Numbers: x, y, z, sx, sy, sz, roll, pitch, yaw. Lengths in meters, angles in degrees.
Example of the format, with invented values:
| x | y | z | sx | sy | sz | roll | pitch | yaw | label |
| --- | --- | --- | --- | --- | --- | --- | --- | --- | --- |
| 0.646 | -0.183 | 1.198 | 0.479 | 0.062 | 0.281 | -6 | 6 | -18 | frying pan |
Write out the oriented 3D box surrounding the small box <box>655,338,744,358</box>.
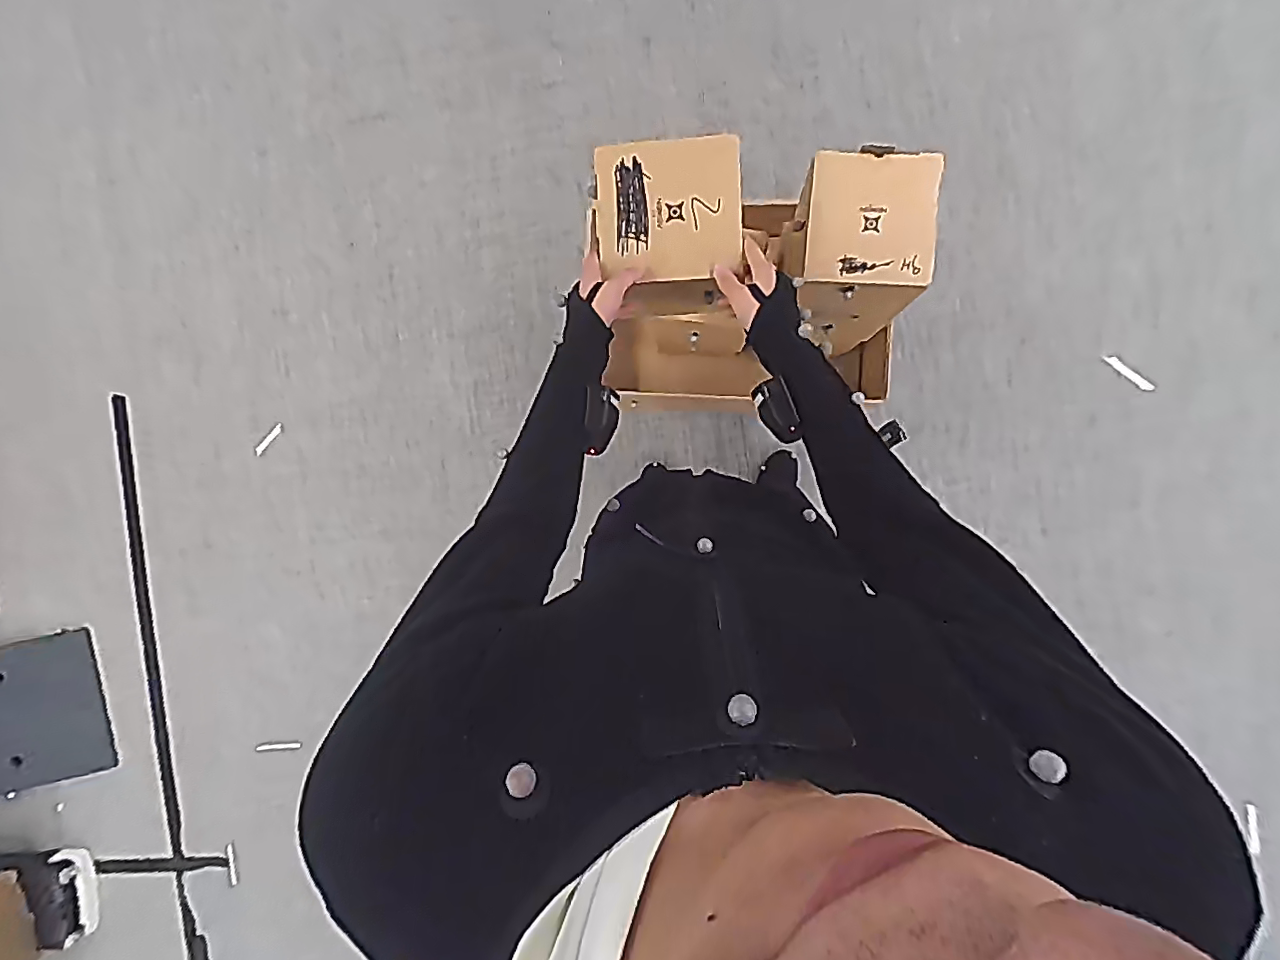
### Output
| x | y | z | sx | sy | sz | roll | pitch | yaw | label |
| --- | --- | --- | --- | --- | --- | --- | --- | --- | --- |
| 0.126 | -0.355 | 1.131 | 0.179 | 0.176 | 0.168 | 4 | 91 | 4 | small box |

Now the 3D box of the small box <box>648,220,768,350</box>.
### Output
| x | y | z | sx | sy | sz | roll | pitch | yaw | label |
| --- | --- | --- | --- | --- | --- | --- | --- | --- | --- |
| 0.117 | -0.337 | 0.968 | 0.179 | 0.176 | 0.168 | 9 | 92 | 4 | small box |
